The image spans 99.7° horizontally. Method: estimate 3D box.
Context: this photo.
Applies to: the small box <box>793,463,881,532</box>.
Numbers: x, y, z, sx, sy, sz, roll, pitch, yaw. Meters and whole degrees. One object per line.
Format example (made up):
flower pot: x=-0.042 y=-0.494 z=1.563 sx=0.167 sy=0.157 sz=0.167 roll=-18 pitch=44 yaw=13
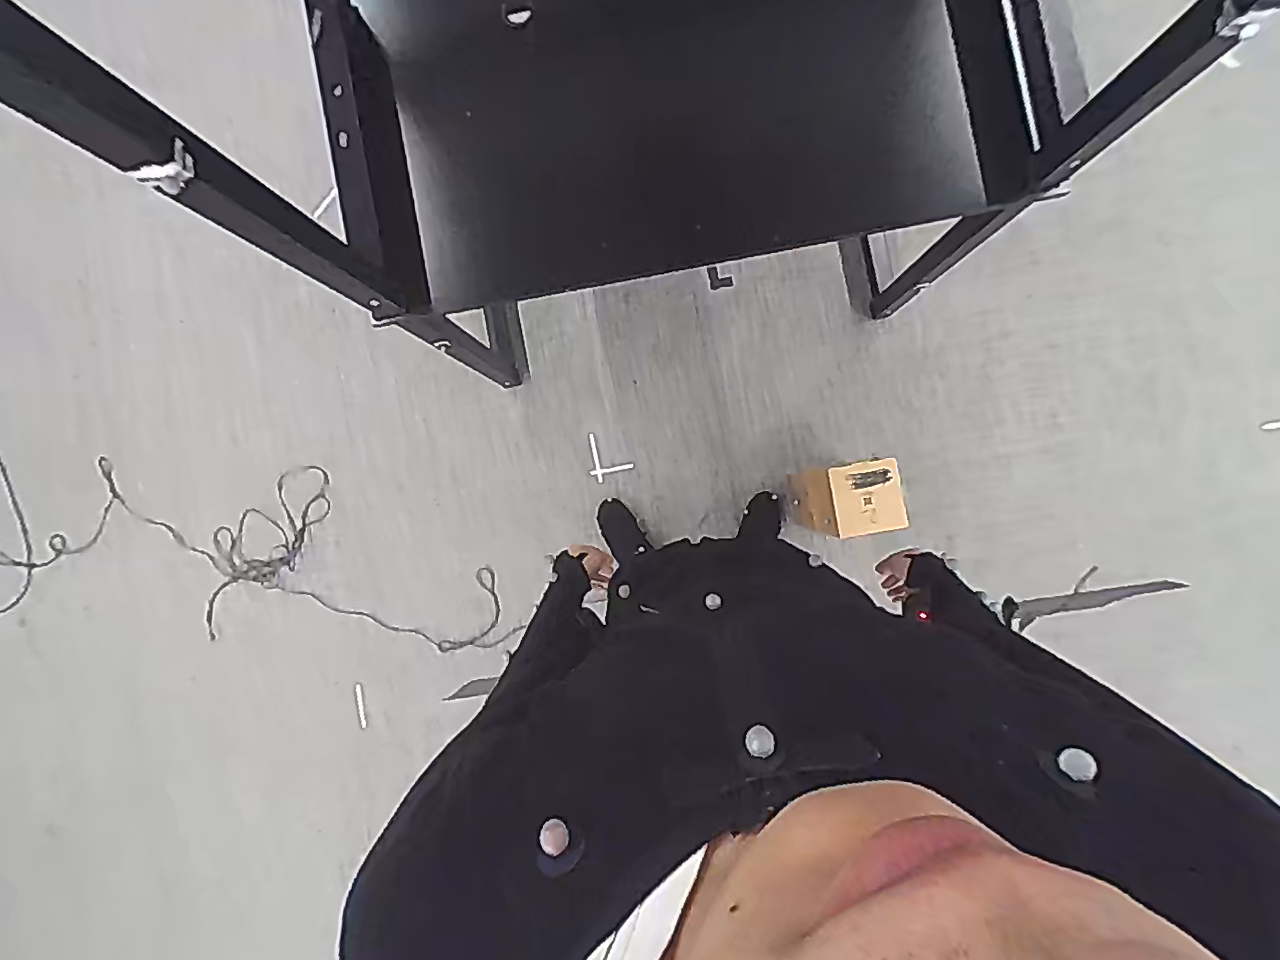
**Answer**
small box: x=0.552 y=0.046 z=1.537 sx=0.179 sy=0.176 sz=0.168 roll=-12 pitch=88 yaw=4
